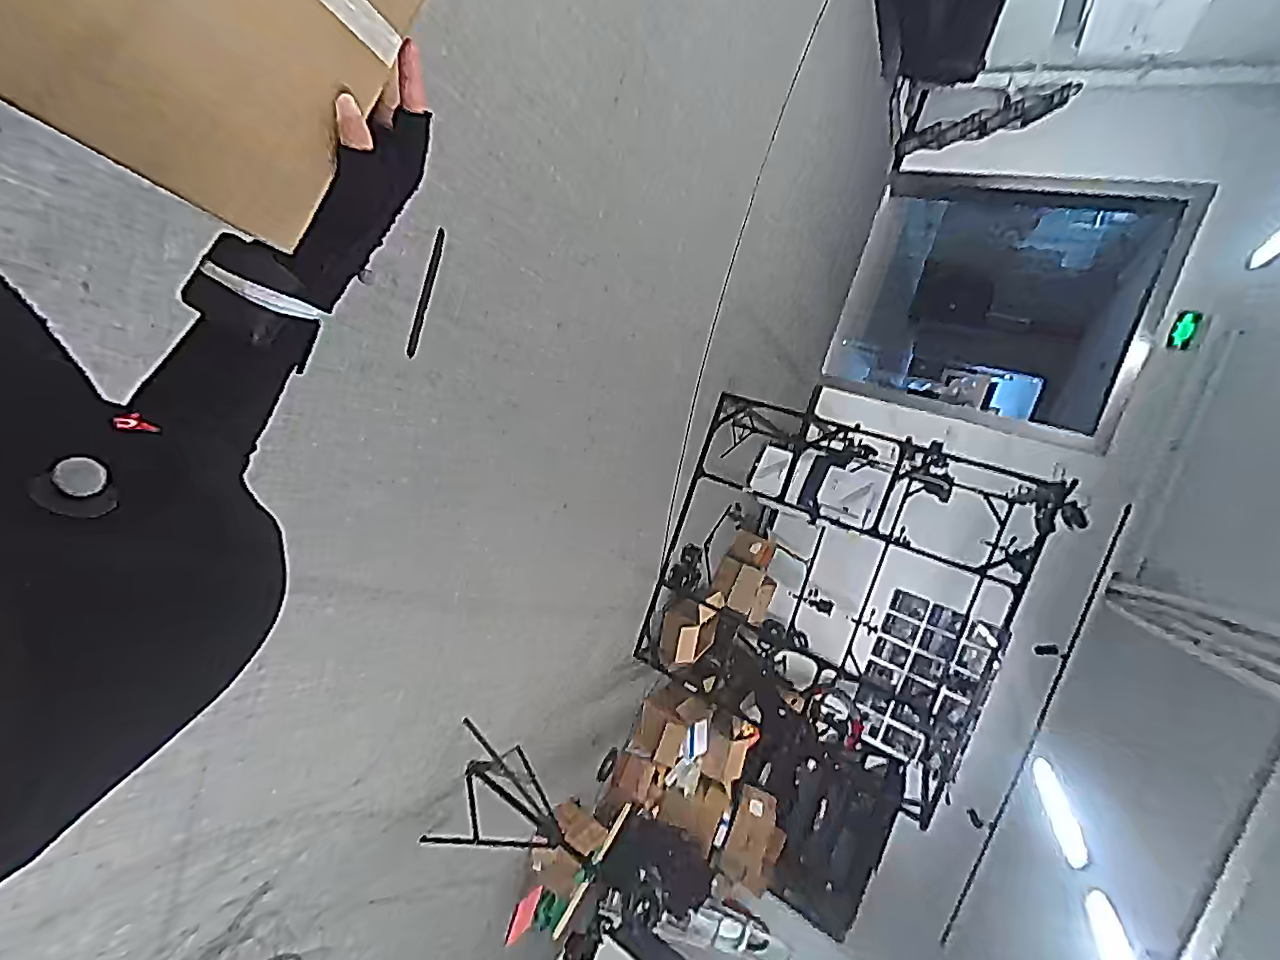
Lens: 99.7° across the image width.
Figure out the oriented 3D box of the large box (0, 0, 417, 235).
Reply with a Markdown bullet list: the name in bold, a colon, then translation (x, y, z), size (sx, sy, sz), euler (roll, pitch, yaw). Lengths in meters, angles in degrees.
- **large box**: translation (-0.383, -0.417, 0.300), size (0.320, 0.320, 0.408), euler (-59, 147, 5)
